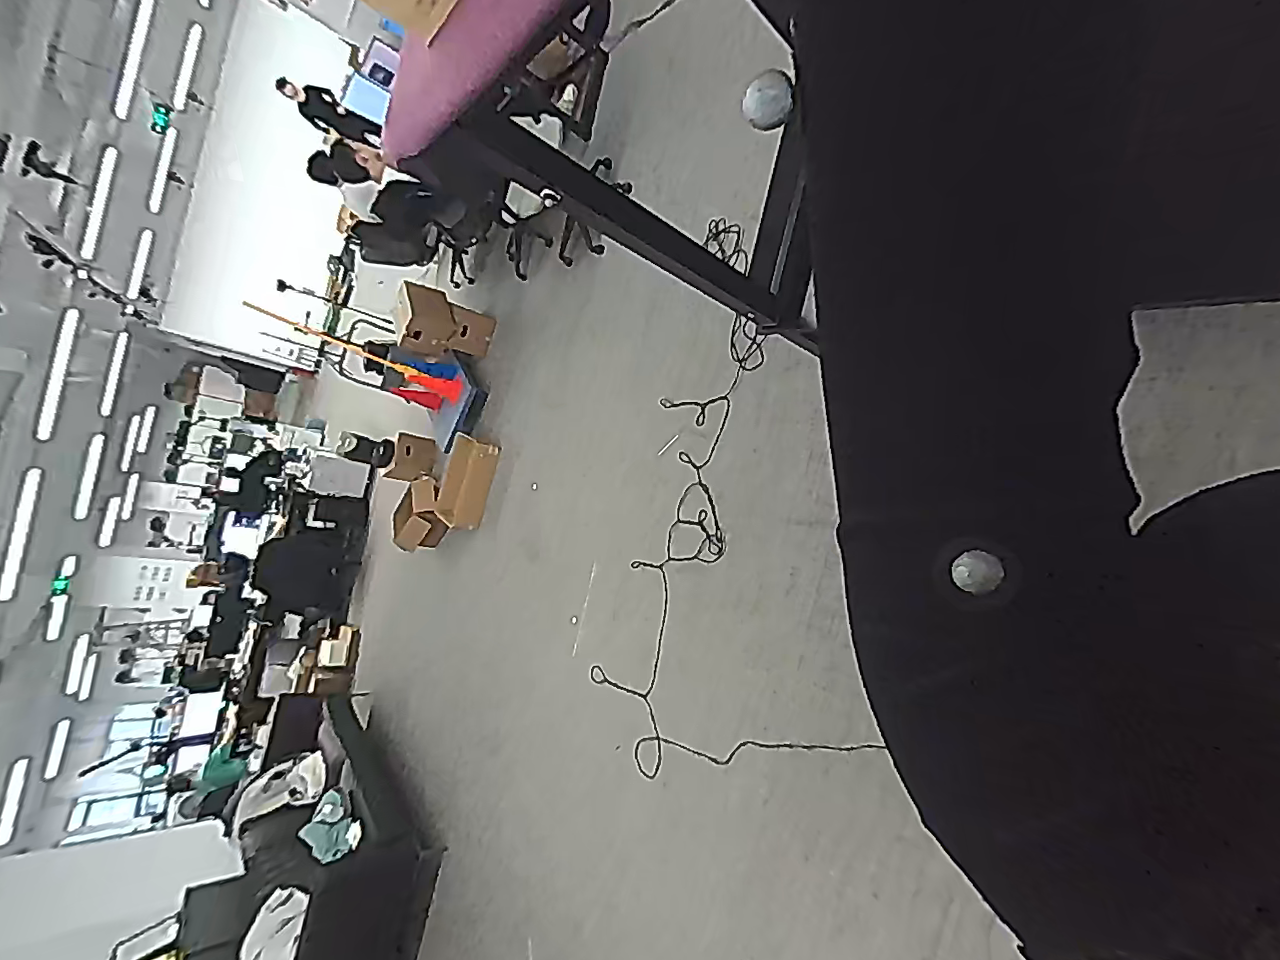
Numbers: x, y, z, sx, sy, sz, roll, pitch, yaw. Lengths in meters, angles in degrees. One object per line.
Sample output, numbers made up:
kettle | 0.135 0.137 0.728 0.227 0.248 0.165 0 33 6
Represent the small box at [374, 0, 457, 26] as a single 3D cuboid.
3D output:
small box | -0.217 -0.549 0.465 0.168 0.176 0.179 13 90 49
